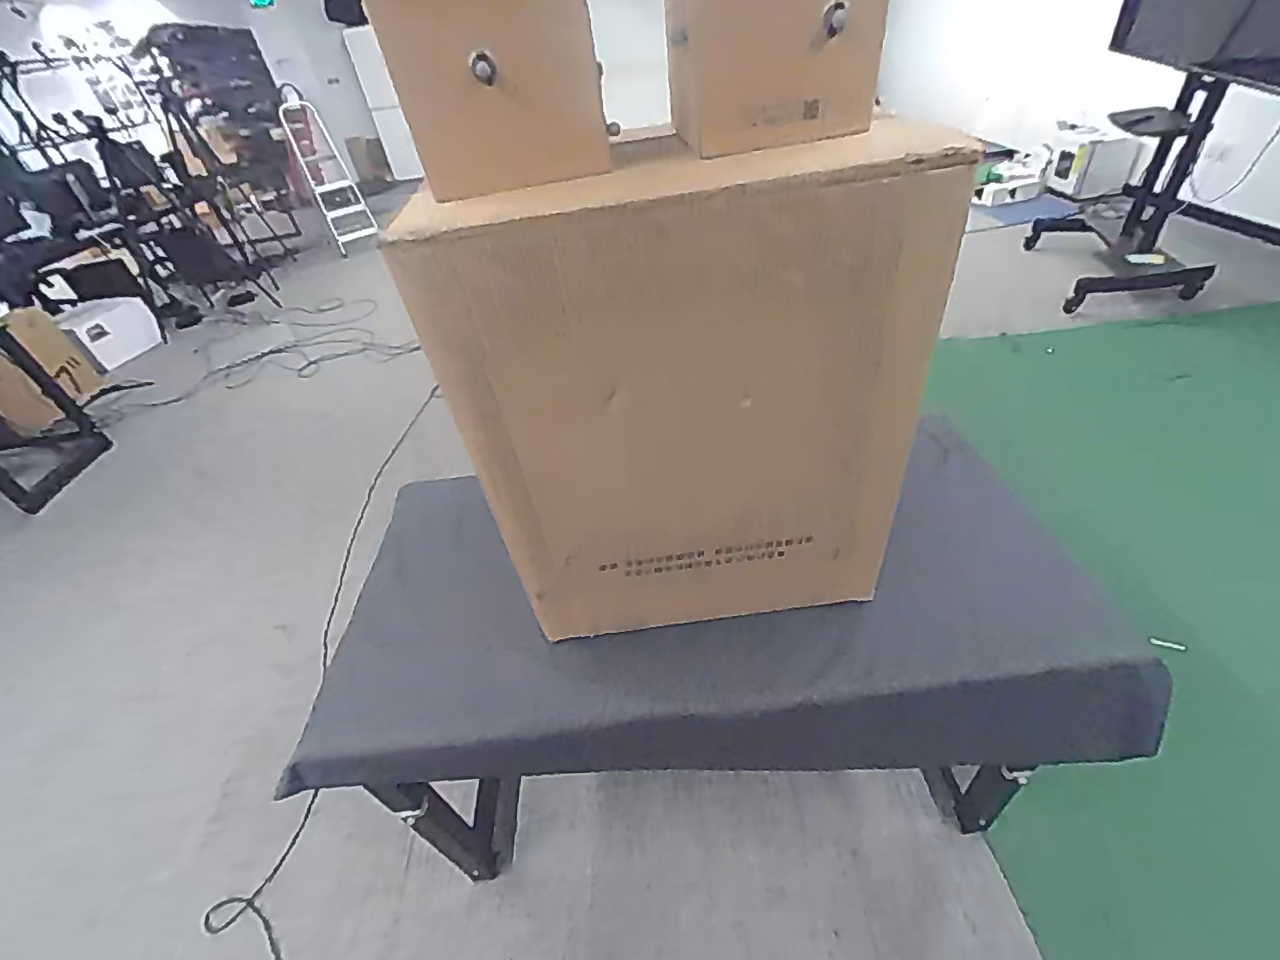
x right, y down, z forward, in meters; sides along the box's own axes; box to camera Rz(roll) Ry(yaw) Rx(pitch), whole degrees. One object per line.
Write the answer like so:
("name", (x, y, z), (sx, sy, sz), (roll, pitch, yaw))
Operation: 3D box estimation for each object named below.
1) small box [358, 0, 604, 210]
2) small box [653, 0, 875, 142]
("small box", (-0.133, -0.388, 0.529), (0.179, 0.176, 0.168), (-11, 42, 1))
("small box", (0.110, -0.440, 0.514), (0.168, 0.176, 0.179), (-13, 44, -3))
